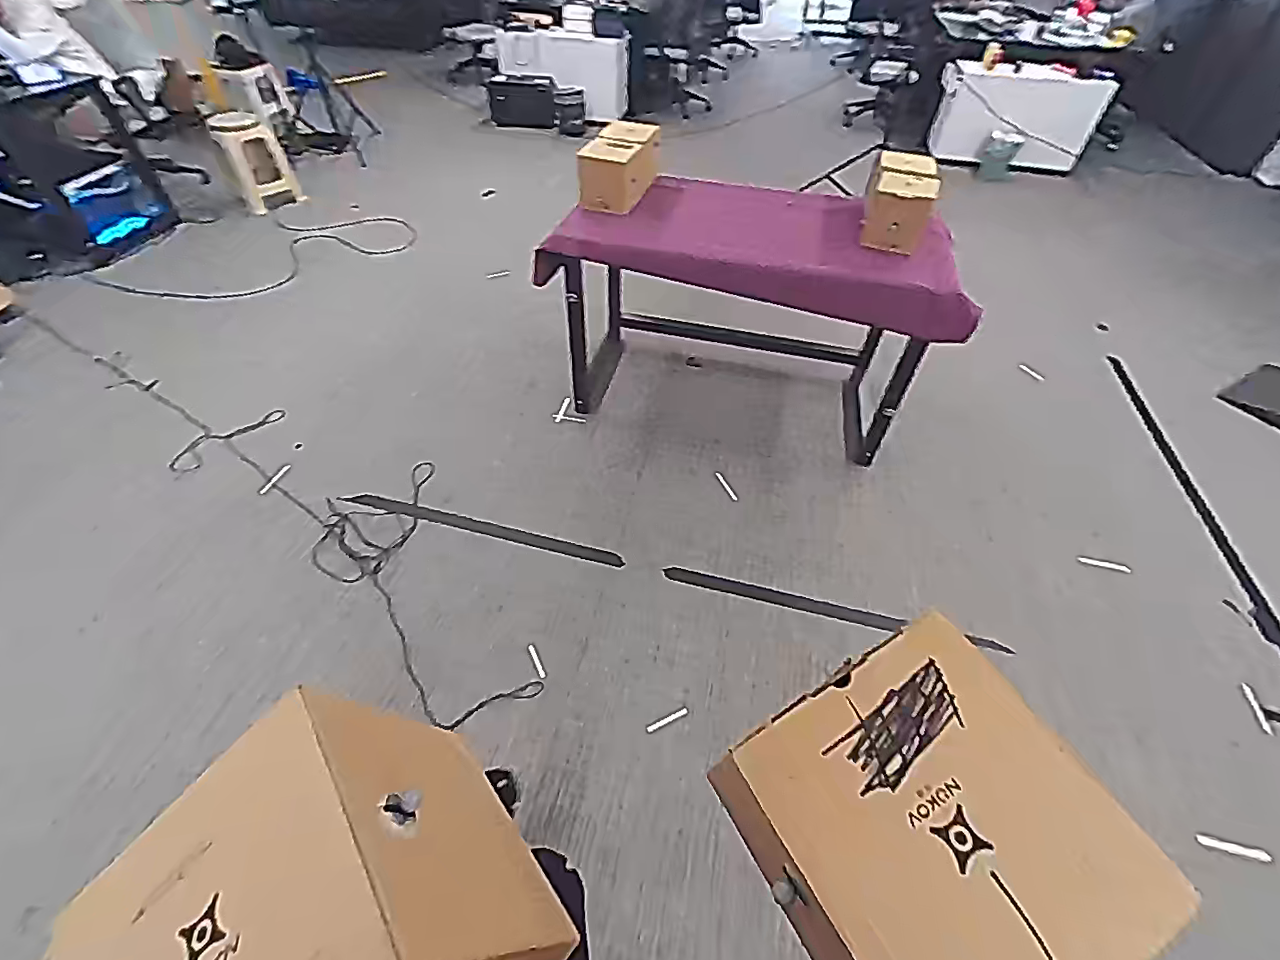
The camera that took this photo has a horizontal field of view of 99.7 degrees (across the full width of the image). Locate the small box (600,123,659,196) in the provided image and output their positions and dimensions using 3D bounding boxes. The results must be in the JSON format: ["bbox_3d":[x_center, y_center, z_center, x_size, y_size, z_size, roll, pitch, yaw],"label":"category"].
[{"bbox_3d":[-0.038,-1.137,1.920,0.168,0.176,0.179,15,50,11],"label":"small box"}]

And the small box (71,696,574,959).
[{"bbox_3d":[-0.170,0.266,0.319,0.168,0.176,0.179,-47,50,-13],"label":"small box"}]

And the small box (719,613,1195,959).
[{"bbox_3d":[0.169,0.225,0.358,0.168,0.176,0.179,-27,61,-15],"label":"small box"}]

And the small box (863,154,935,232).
[{"bbox_3d":[0.852,-0.950,1.791,0.168,0.176,0.179,15,49,10],"label":"small box"}]
